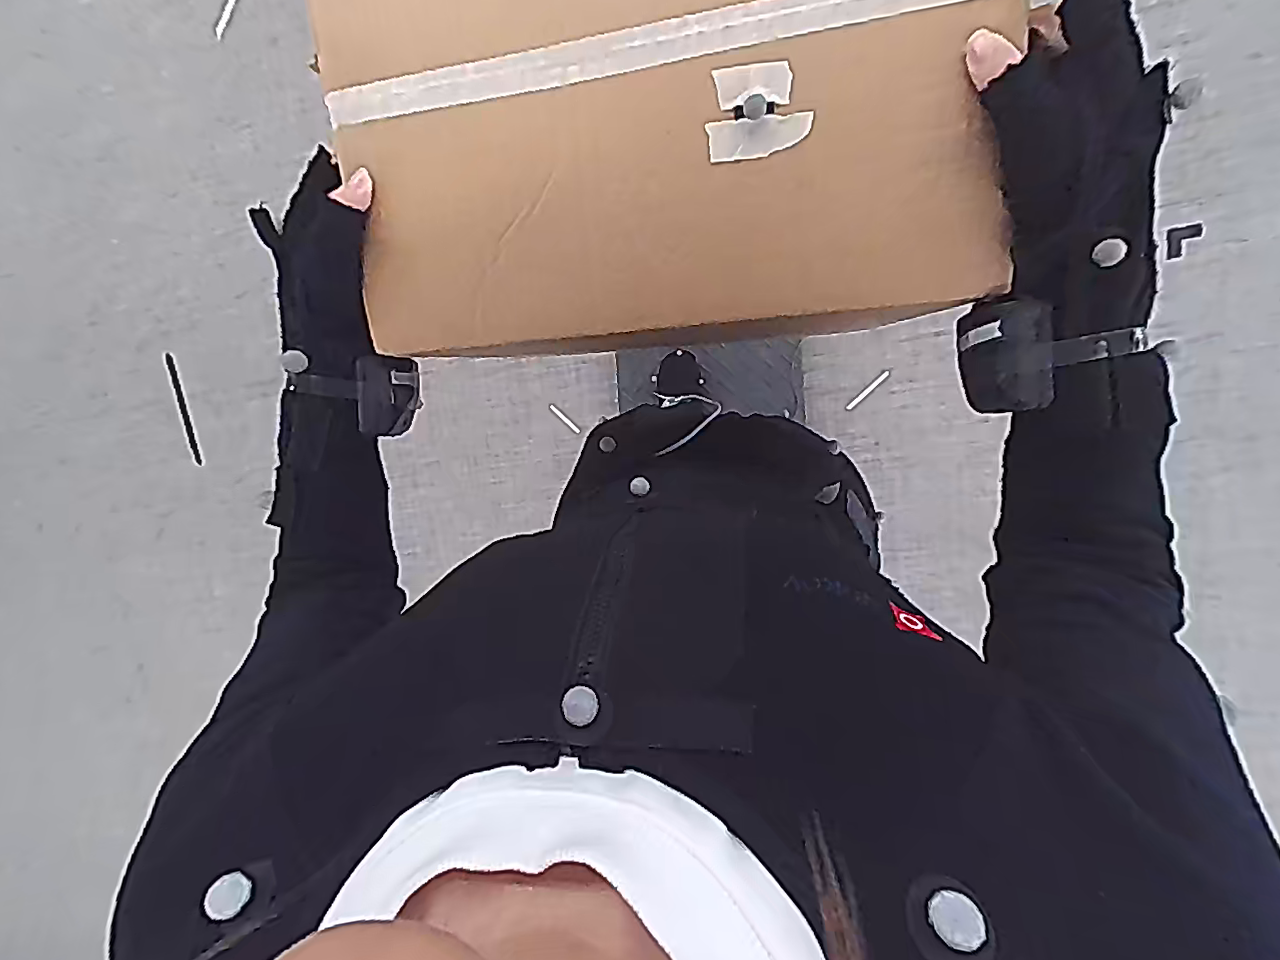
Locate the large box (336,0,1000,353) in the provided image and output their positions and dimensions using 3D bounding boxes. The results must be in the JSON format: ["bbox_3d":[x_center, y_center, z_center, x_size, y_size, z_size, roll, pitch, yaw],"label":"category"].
[{"bbox_3d":[0.025,-0.290,0.472,0.408,0.320,0.320,-3,102,11],"label":"large box"}]
